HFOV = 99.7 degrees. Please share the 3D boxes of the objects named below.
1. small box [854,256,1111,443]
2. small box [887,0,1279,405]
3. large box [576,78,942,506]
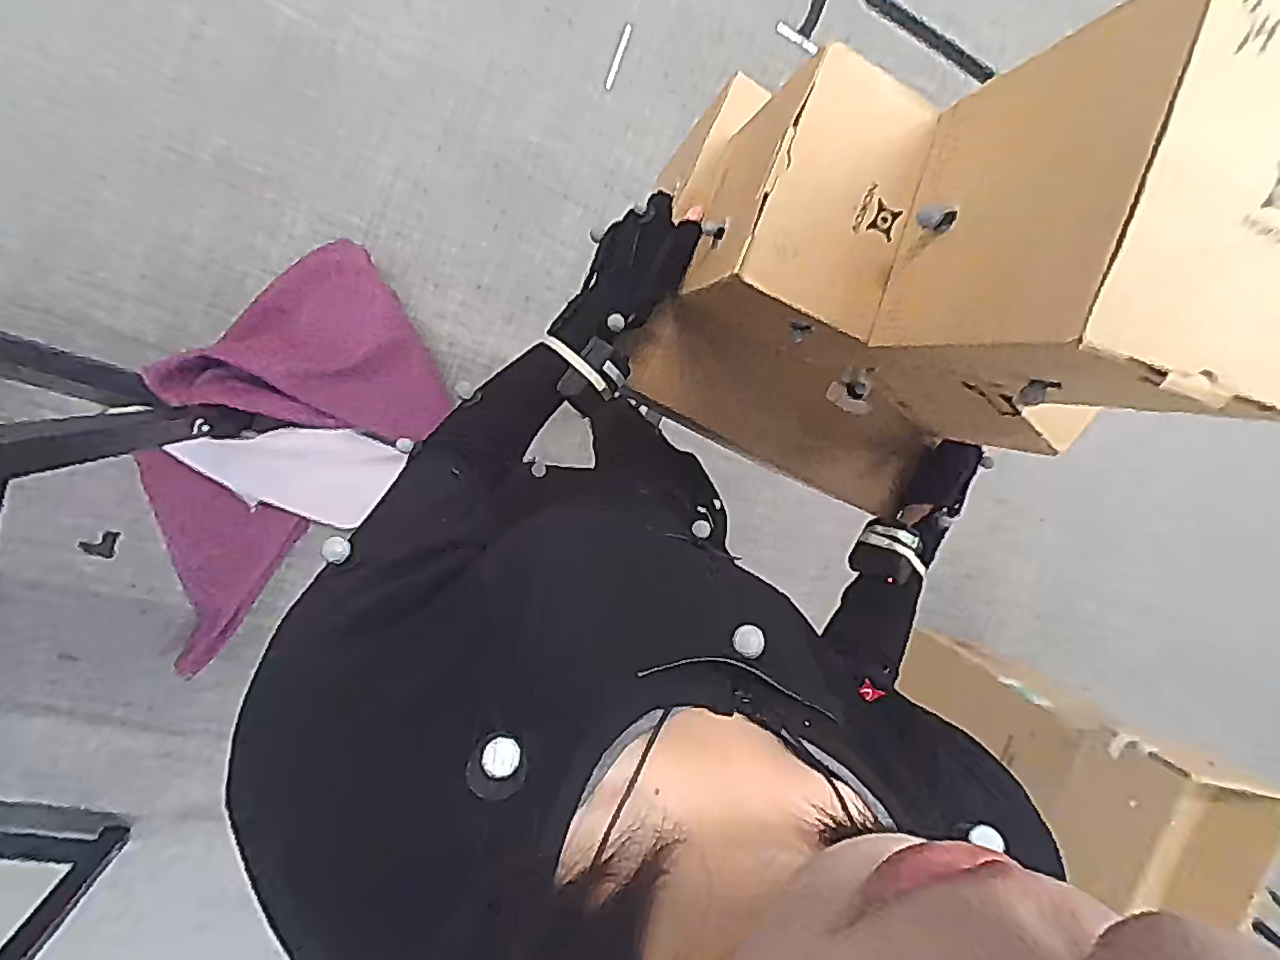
[{"bbox_3d":[0.339,-0.159,0.518,0.168,0.176,0.179,38,91,-16],"label":"small box"},{"bbox_3d":[0.290,-0.157,0.338,0.168,0.176,0.179,12,100,-15],"label":"small box"},{"bbox_3d":[0.168,-0.207,0.726,0.408,0.320,0.320,24,96,-17],"label":"large box"}]
